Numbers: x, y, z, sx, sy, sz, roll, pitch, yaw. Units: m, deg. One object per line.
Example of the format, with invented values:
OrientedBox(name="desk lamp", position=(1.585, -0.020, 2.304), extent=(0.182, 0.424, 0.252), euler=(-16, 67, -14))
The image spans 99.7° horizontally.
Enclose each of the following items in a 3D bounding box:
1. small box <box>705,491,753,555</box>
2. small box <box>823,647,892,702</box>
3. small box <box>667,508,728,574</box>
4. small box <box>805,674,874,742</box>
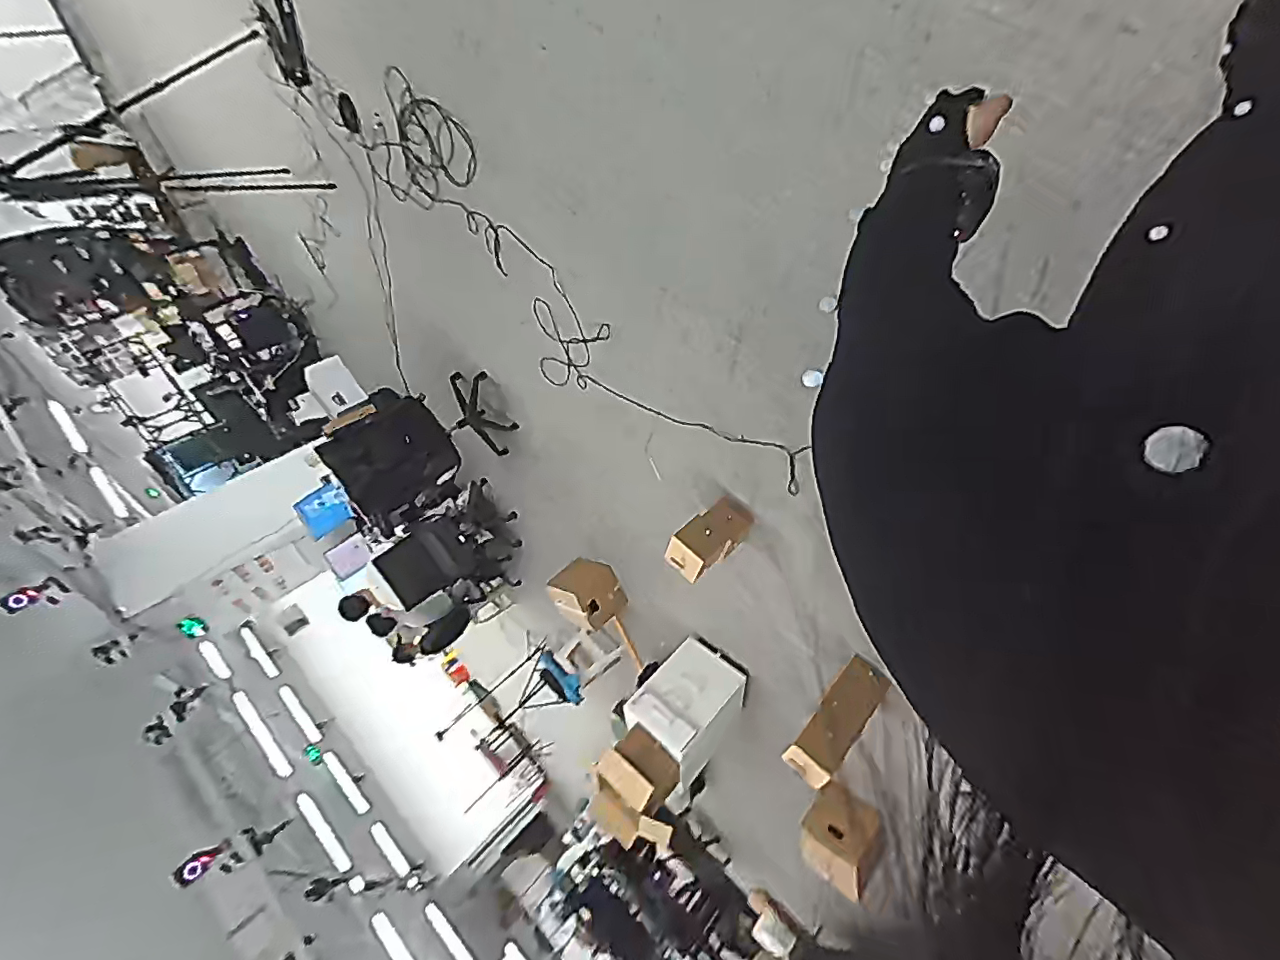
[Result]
OrientedBox(name="small box", position=(0.362, 0.179, 2.318), extent=(0.168, 0.176, 0.179), euler=(40, 146, 20))
OrientedBox(name="small box", position=(0.912, 0.829, 2.266), extent=(0.179, 0.176, 0.168), euler=(40, 147, 20))
OrientedBox(name="small box", position=(0.240, 0.251, 2.233), extent=(0.168, 0.176, 0.179), euler=(40, 145, 19))
OrientedBox(name="small box", position=(0.803, 0.907, 2.174), extent=(0.179, 0.176, 0.168), euler=(37, 147, 21))
